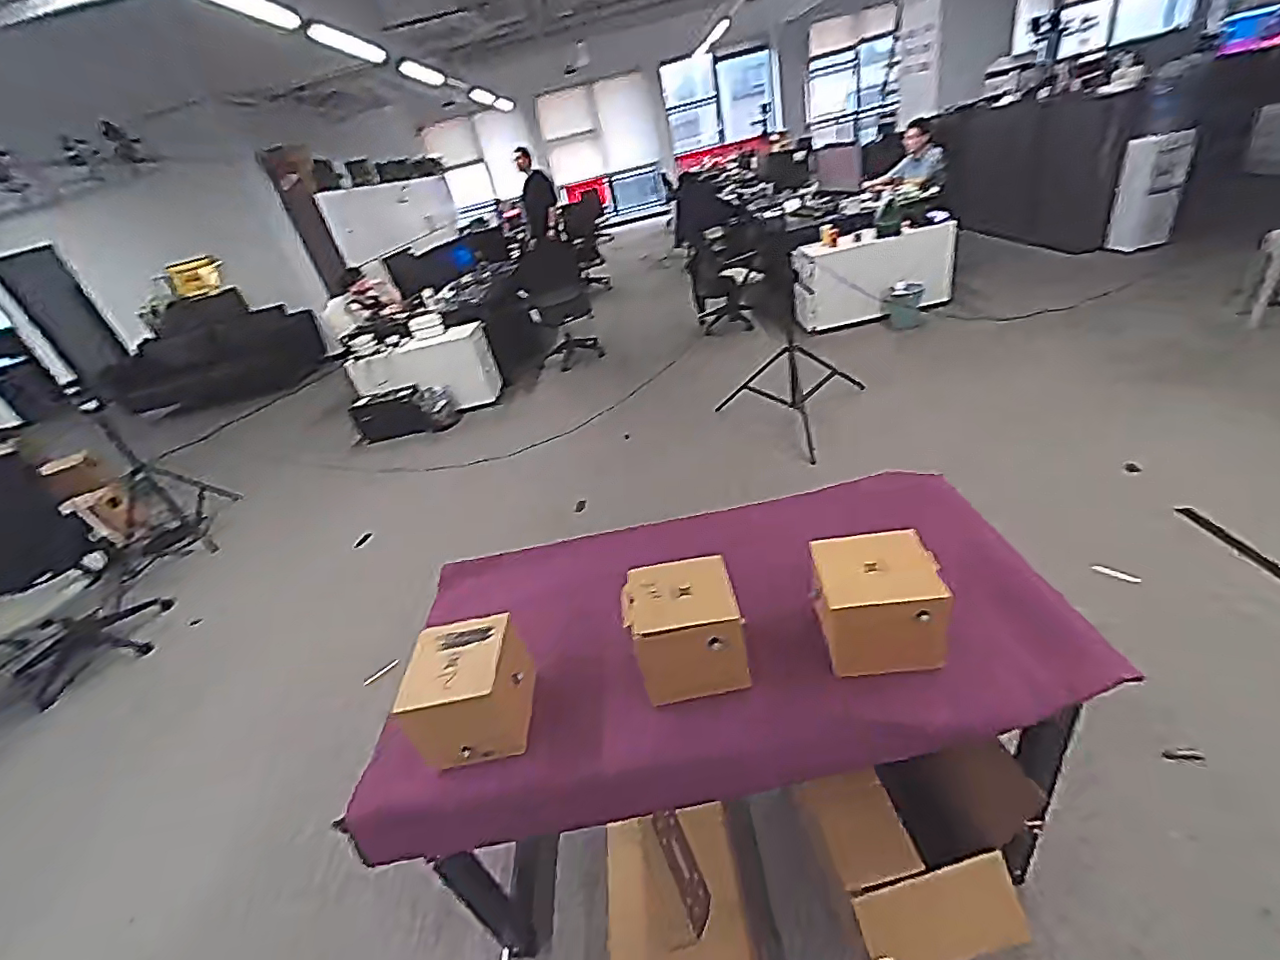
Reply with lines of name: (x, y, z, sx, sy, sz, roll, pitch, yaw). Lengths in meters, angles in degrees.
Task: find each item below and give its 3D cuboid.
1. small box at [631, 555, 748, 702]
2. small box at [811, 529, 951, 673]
small box: (0.089, 0.262, 0.955, 0.179, 0.176, 0.168, -13, 29, 3)
small box: (0.400, 0.207, 0.917, 0.179, 0.176, 0.168, -8, 32, 9)
